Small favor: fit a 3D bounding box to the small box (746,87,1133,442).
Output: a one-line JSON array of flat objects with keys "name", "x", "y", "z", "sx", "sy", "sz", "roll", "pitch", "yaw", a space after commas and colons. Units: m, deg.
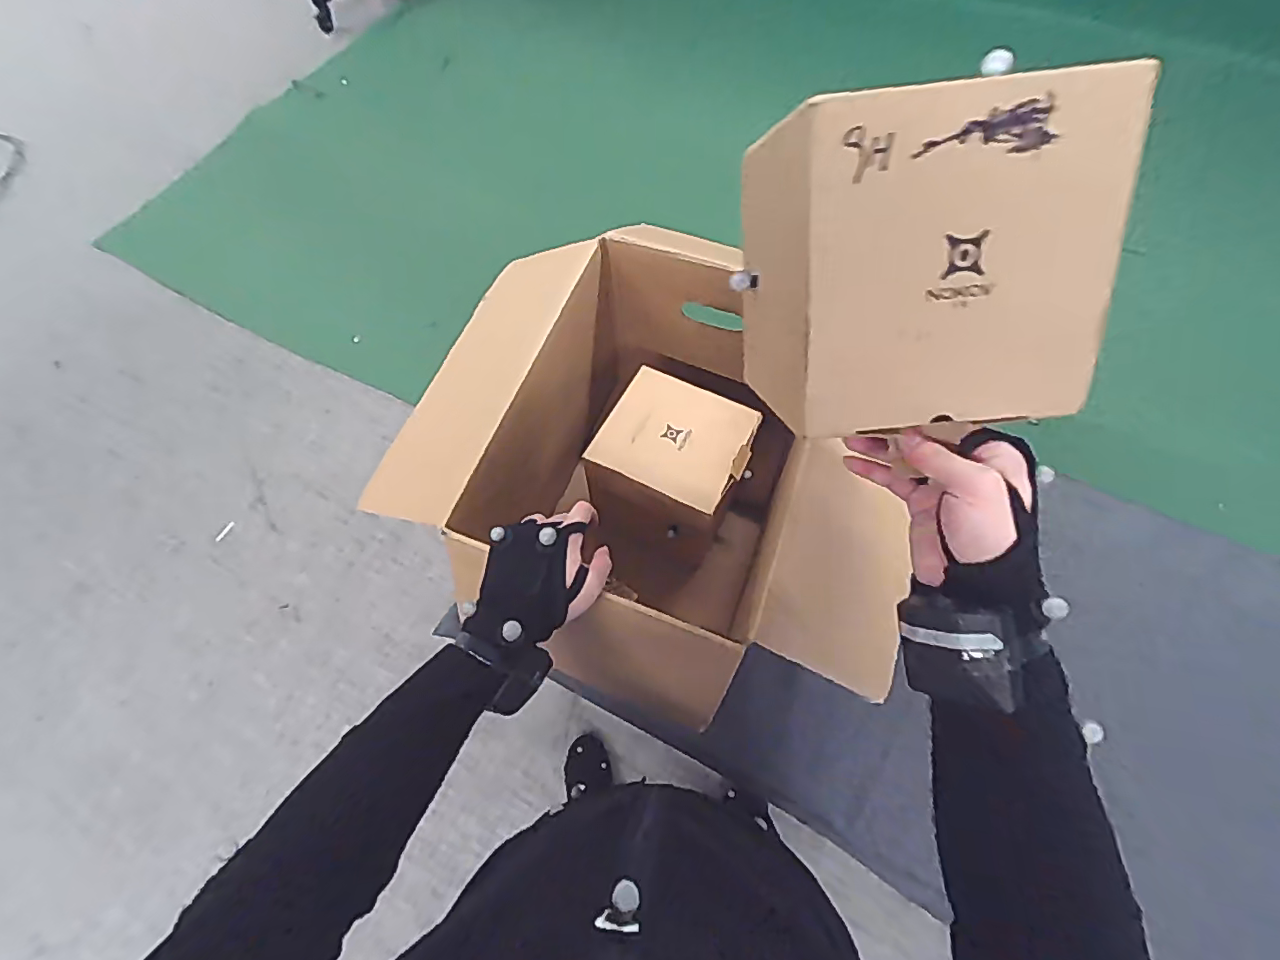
[{"name": "small box", "x": 0.172, "y": -0.141, "z": 0.378, "sx": 0.168, "sy": 0.179, "sz": 0.176, "roll": -6, "pitch": 22, "yaw": 1}]
